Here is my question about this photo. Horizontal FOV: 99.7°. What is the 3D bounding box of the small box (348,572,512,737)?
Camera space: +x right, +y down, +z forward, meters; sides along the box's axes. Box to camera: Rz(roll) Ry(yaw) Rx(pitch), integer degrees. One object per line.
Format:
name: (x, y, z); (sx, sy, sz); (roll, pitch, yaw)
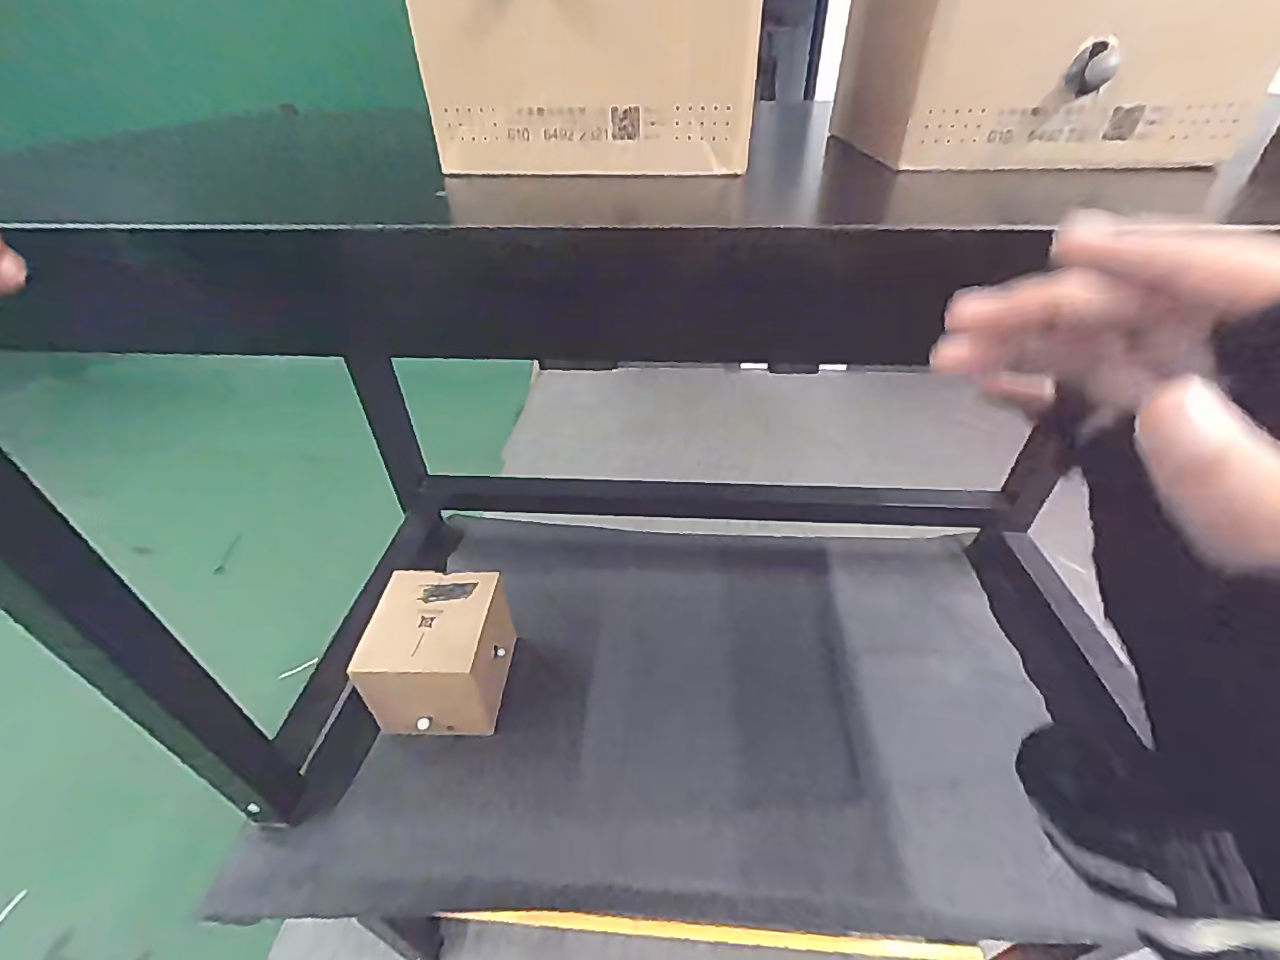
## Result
small box: (-0.297, 0.259, 0.815); (0.168, 0.176, 0.179); (0, 38, 2)
